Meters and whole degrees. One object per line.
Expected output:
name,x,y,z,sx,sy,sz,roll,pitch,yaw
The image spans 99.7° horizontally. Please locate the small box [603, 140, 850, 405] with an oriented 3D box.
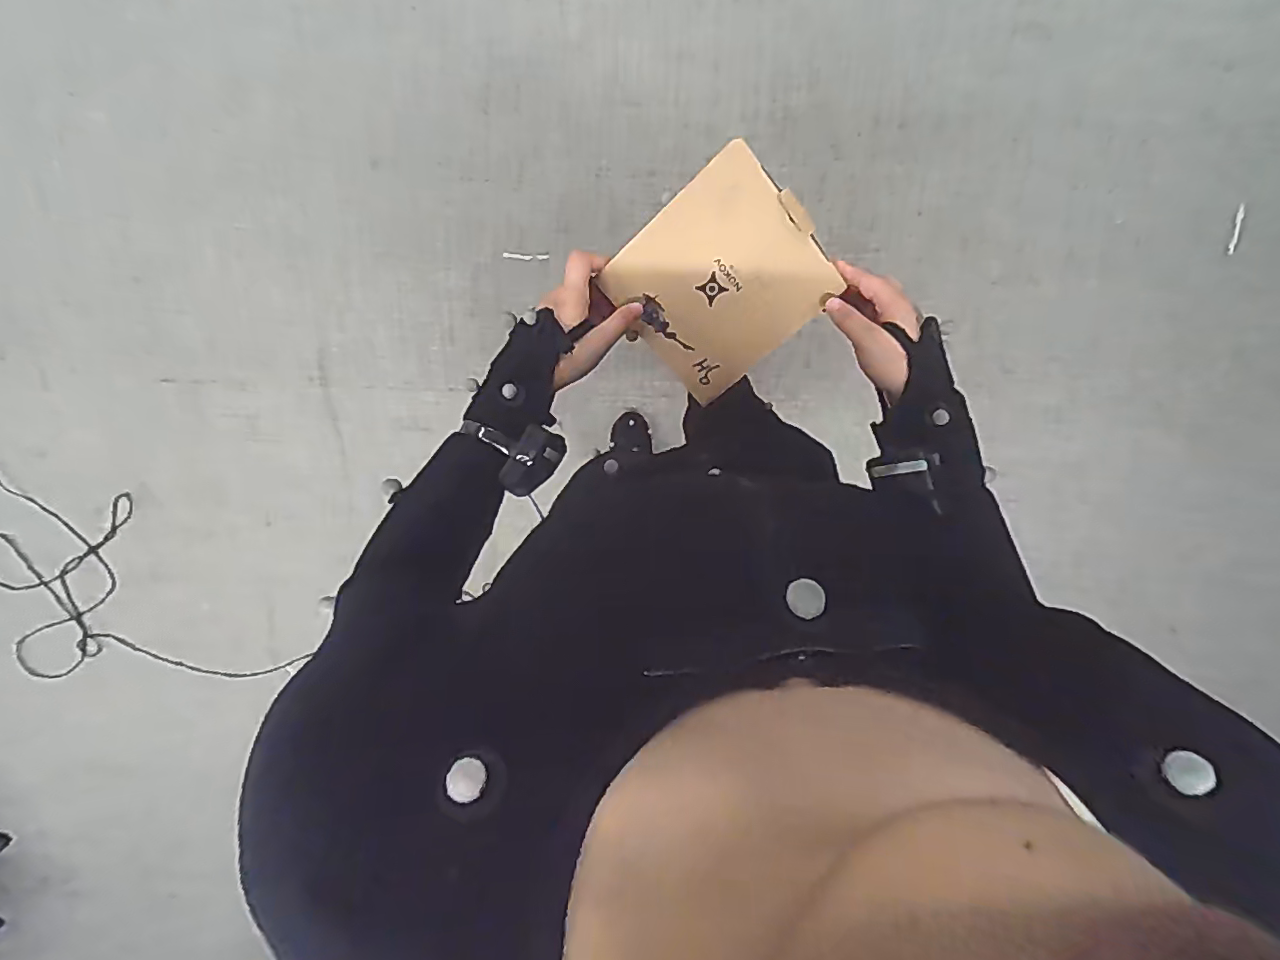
small box,0.081,-0.212,0.574,0.179,0.176,0.168,-39,105,16
